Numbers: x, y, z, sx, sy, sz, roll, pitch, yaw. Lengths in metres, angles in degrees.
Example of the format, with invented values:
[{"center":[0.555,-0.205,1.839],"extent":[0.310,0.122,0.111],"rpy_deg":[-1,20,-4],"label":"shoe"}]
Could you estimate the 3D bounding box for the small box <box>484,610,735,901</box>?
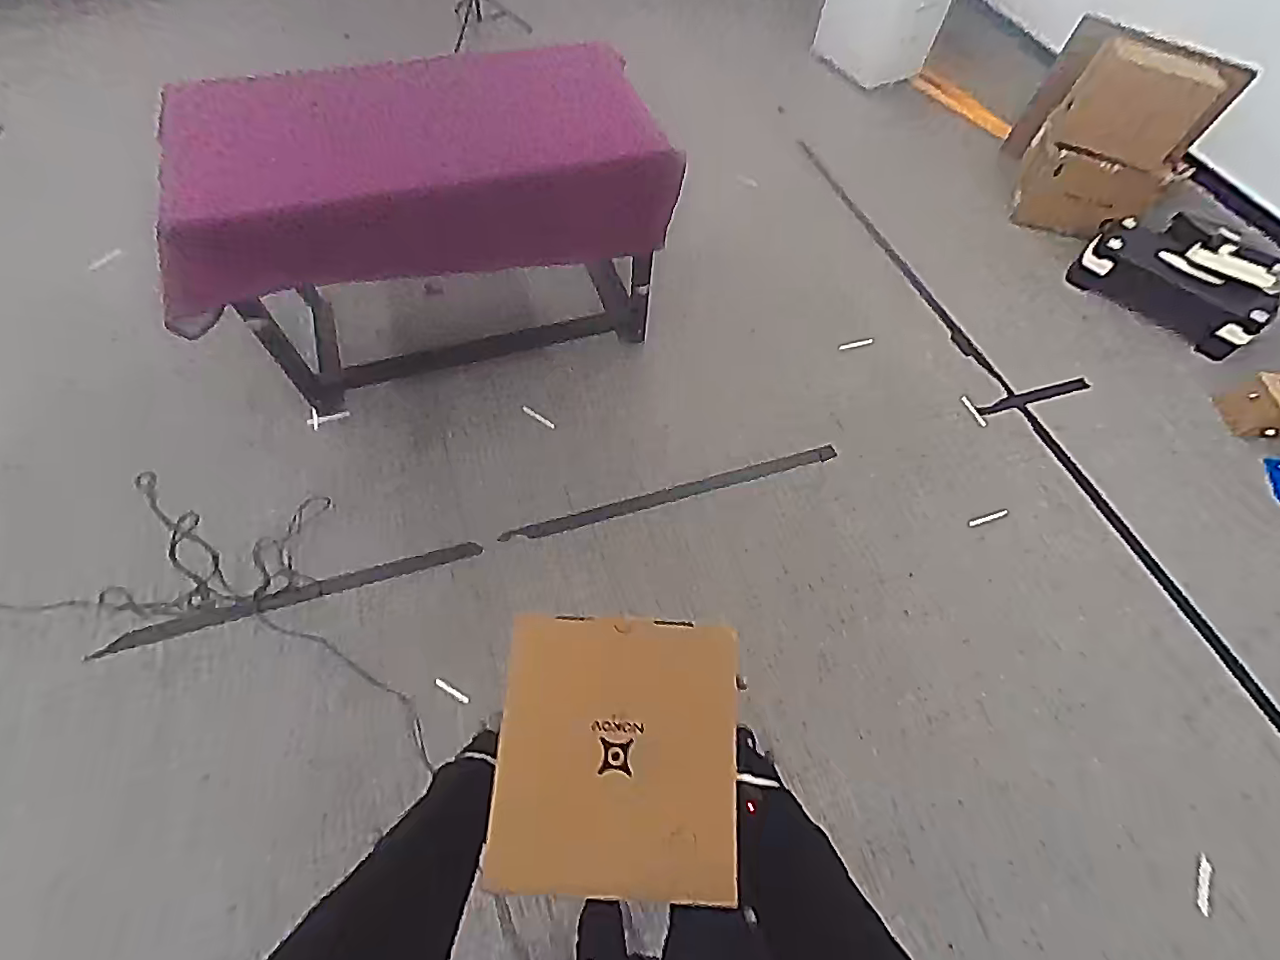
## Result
[{"center":[-0.014,0.207,0.446],"extent":[0.168,0.176,0.179],"rpy_deg":[2,70,1],"label":"small box"}]
